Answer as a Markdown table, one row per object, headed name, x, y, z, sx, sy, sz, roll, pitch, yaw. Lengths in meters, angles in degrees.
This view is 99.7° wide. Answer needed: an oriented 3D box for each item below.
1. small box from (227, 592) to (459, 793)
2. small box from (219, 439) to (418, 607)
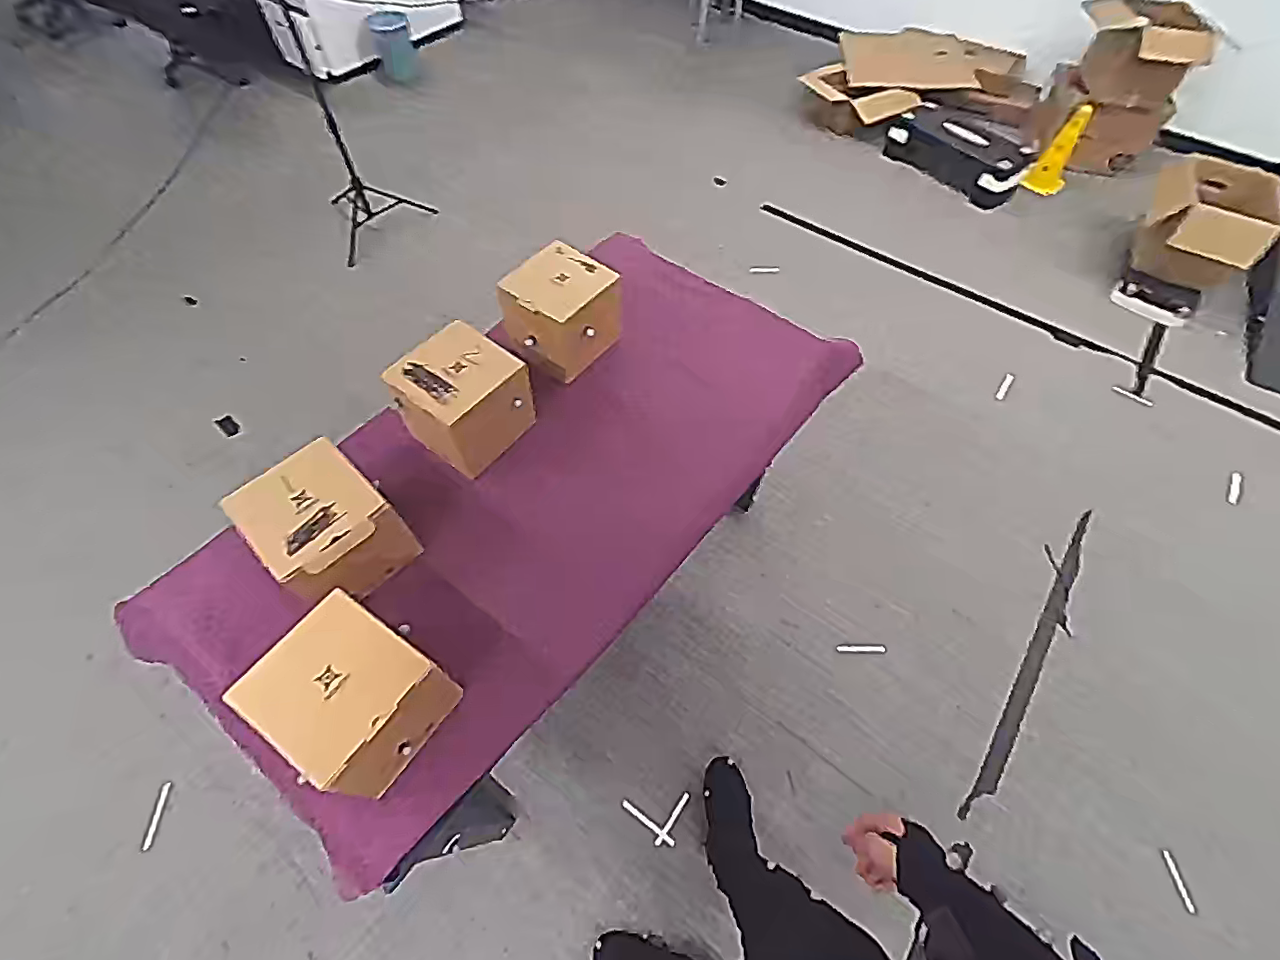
| name | x | y | z | sx | sy | sz | roll | pitch | yaw |
| --- | --- | --- | --- | --- | --- | --- | --- | --- | --- |
| small box | -0.369 | 0.284 | 0.707 | 0.179 | 0.176 | 0.168 | 30 | 61 | 15 |
| small box | -0.476 | 0.078 | 0.829 | 0.179 | 0.176 | 0.168 | 39 | 65 | 19 |
